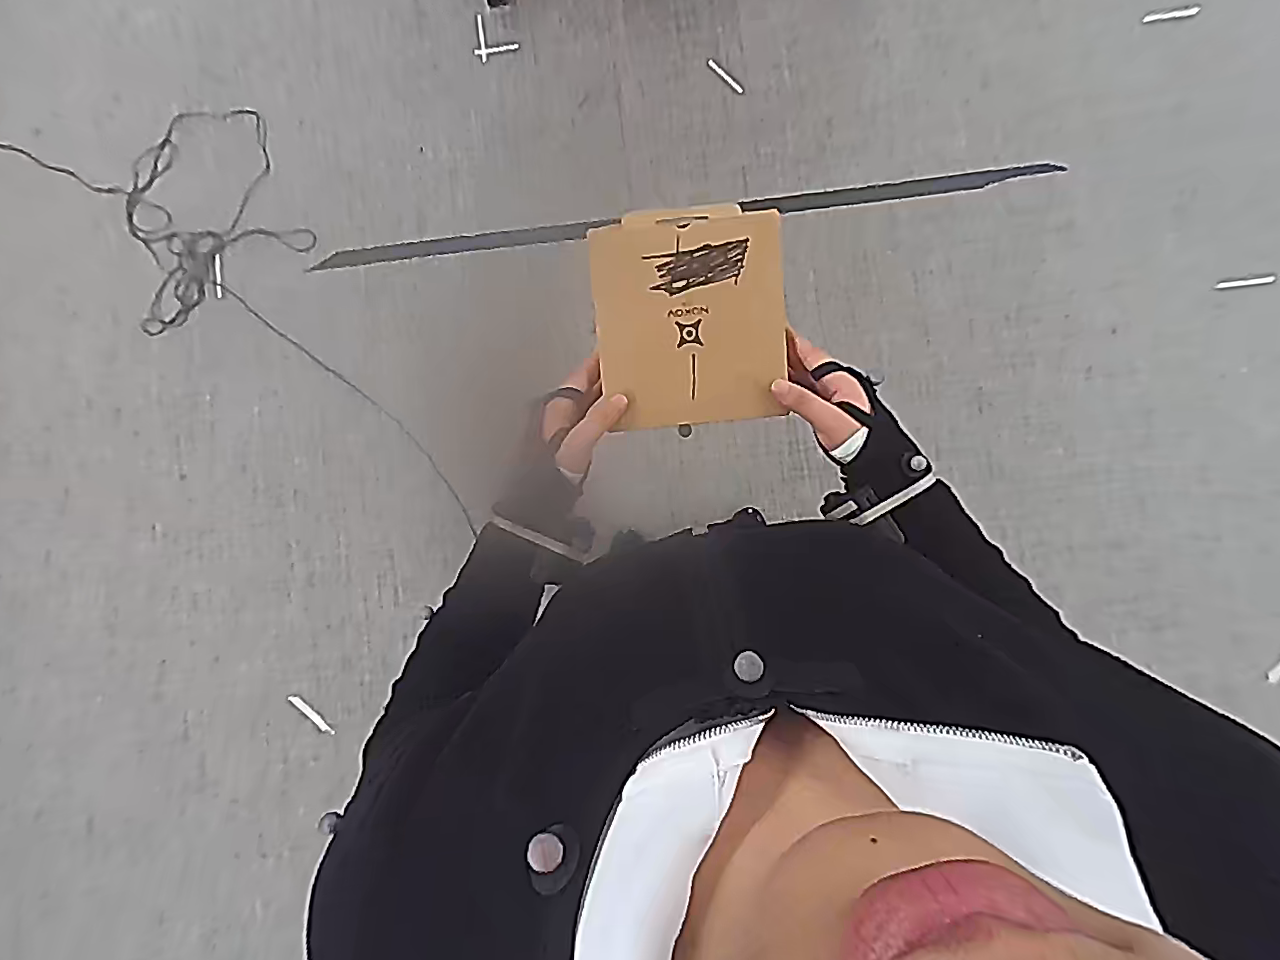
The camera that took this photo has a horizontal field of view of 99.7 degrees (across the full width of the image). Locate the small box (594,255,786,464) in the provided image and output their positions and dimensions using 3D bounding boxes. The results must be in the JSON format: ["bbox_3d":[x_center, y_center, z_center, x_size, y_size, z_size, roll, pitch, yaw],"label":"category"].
[{"bbox_3d":[0.047,-0.115,0.564,0.168,0.176,0.179,-5,98,2],"label":"small box"}]

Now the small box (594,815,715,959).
[{"bbox_3d":[0.029,0.700,0.917,0.179,0.176,0.168,-8,84,3],"label":"small box"}]
